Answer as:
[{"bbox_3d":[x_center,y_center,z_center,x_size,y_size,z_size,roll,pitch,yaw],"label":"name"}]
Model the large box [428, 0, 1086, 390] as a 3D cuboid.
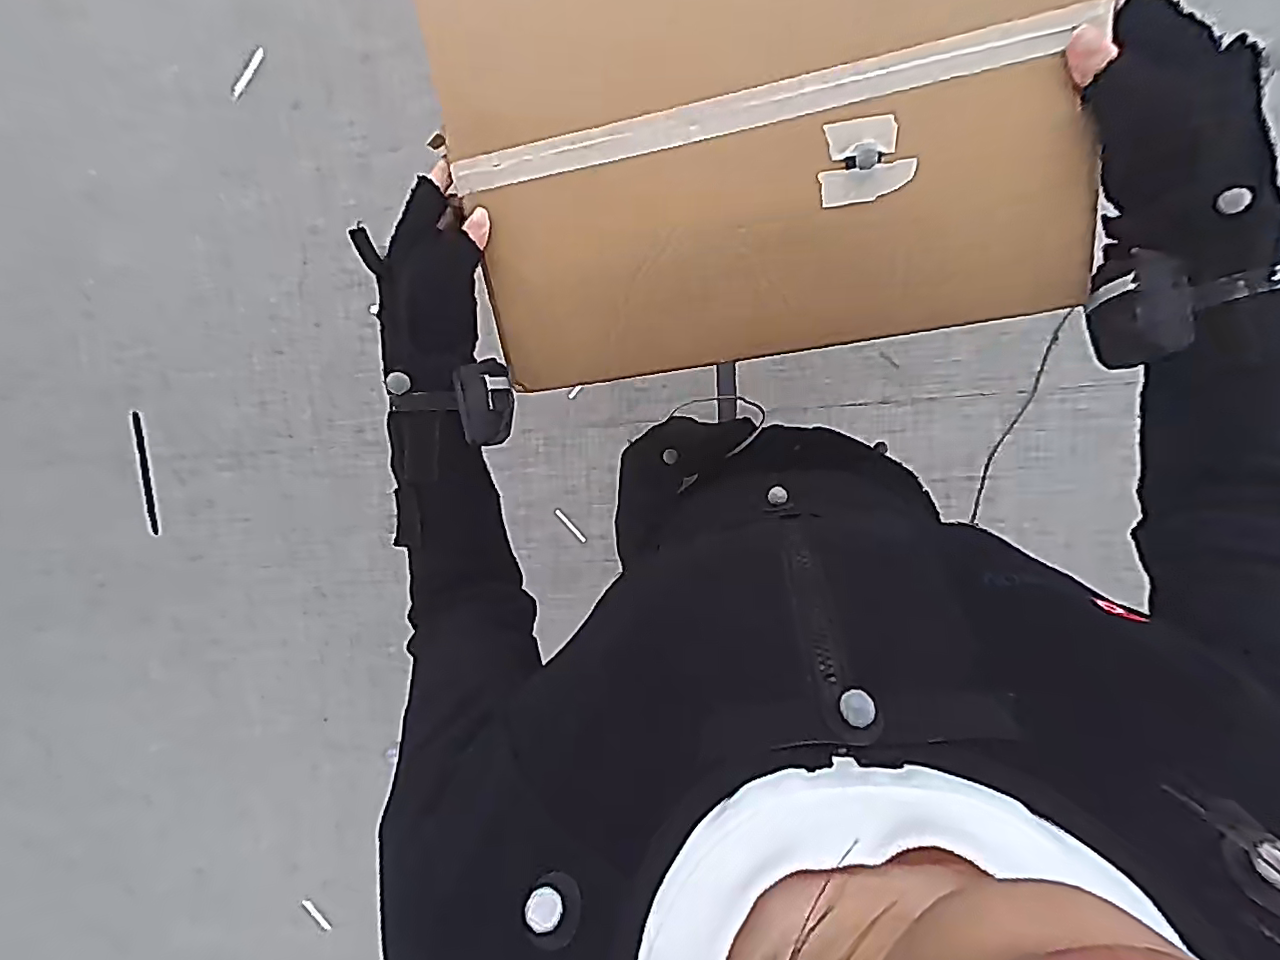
[{"bbox_3d":[0.089,-0.291,0.499,0.408,0.320,0.320,-8,109,10],"label":"large box"}]
